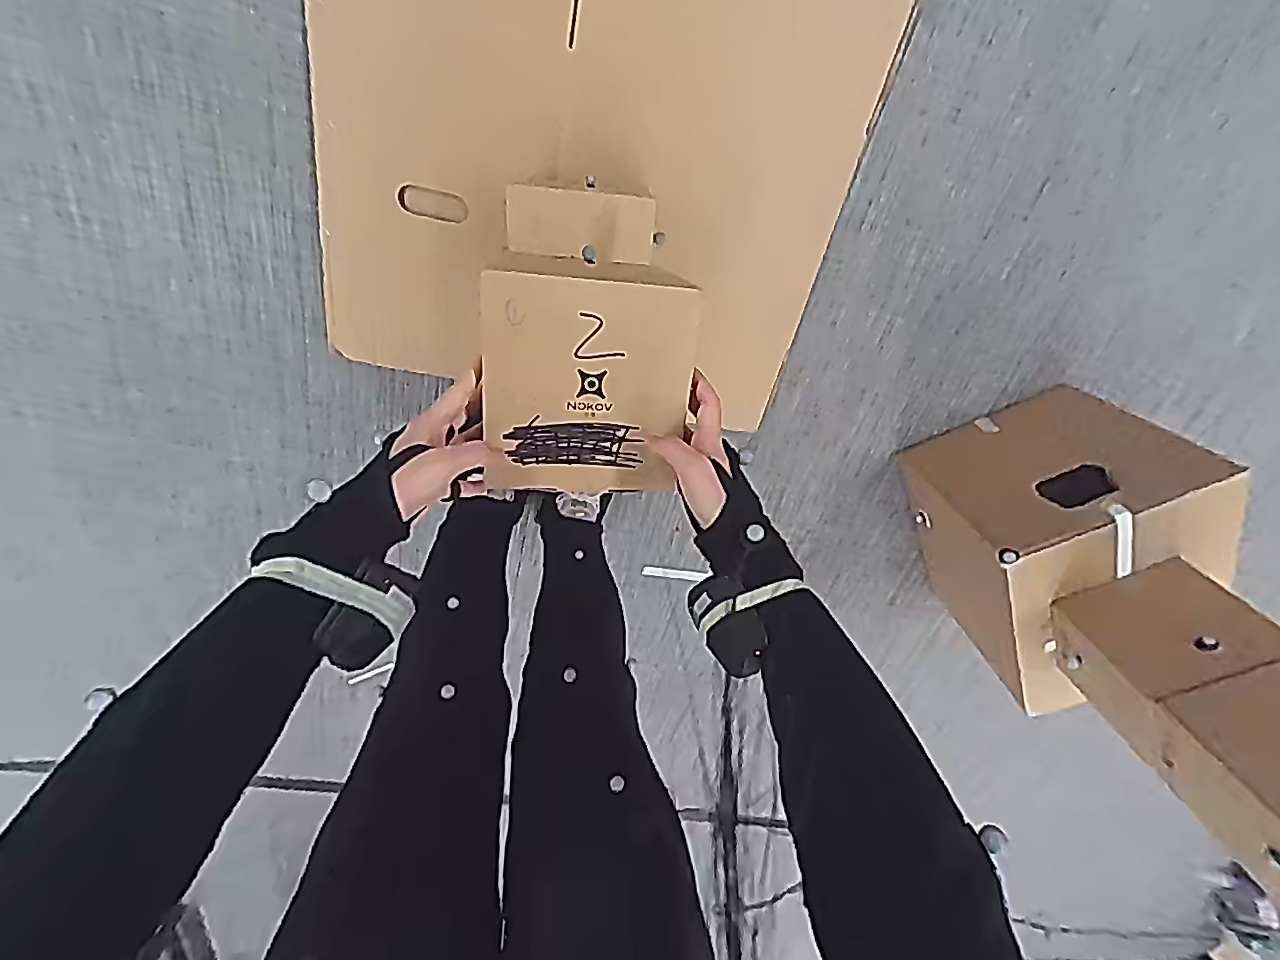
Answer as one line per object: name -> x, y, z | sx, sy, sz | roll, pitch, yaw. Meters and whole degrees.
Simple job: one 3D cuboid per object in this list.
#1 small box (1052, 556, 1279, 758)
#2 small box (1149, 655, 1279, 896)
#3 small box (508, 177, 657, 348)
small box -> 0.708, 0.232, 0.731 | 0.179, 0.176, 0.168 | -25, 120, 11
small box -> 0.723, 0.316, 0.590 | 0.179, 0.176, 0.168 | -25, 120, 9
small box -> -0.074, -0.285, 0.698 | 0.168, 0.176, 0.179 | 3, 121, -4
